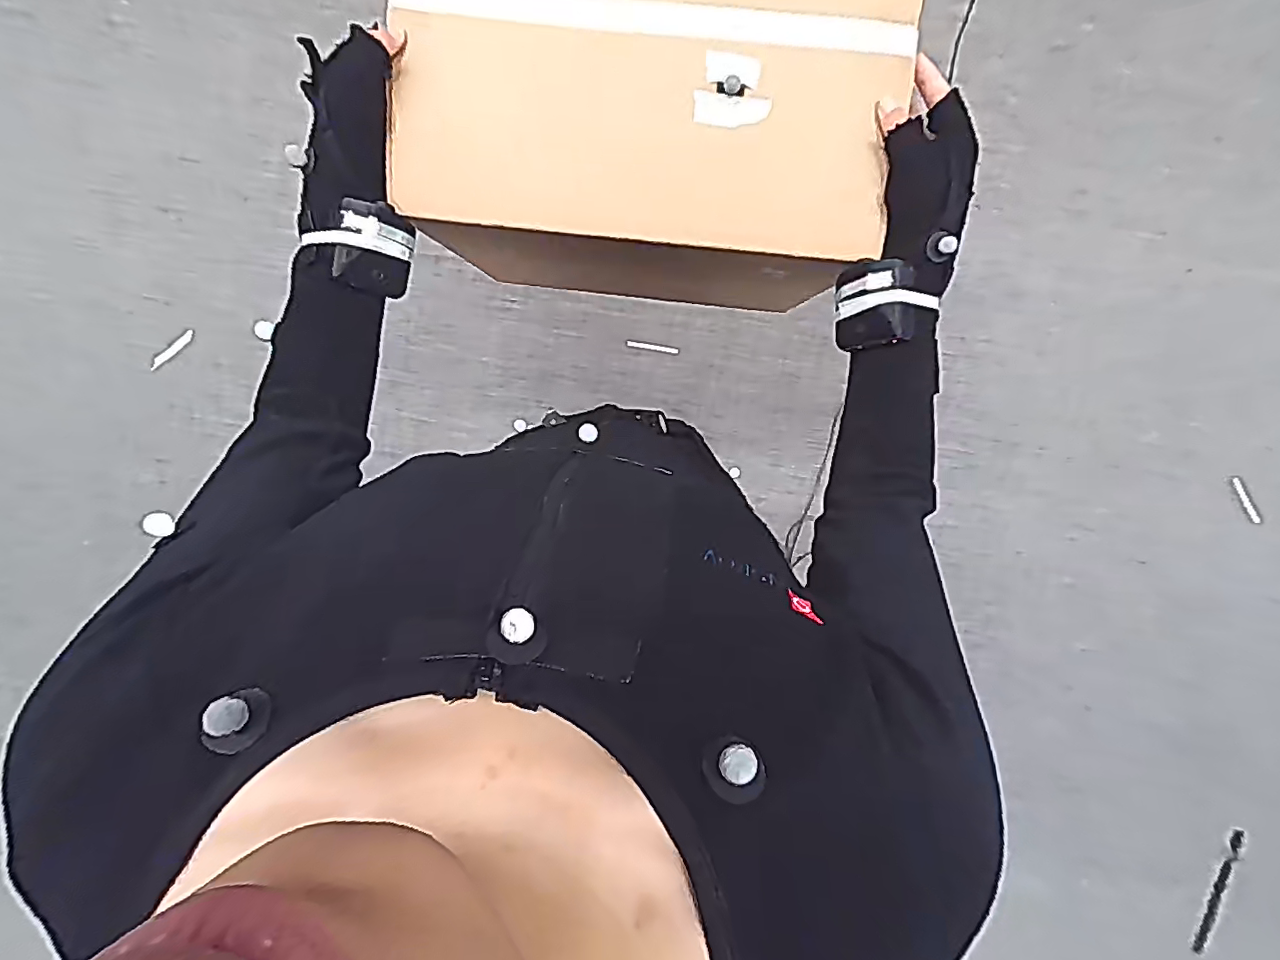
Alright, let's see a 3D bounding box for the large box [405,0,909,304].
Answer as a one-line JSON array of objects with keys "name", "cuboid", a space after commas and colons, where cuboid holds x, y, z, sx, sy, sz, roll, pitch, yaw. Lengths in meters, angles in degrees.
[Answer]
[{"name": "large box", "cuboid": [0.011, -0.383, 0.578, 0.408, 0.320, 0.320, 6, 101, 0]}]
